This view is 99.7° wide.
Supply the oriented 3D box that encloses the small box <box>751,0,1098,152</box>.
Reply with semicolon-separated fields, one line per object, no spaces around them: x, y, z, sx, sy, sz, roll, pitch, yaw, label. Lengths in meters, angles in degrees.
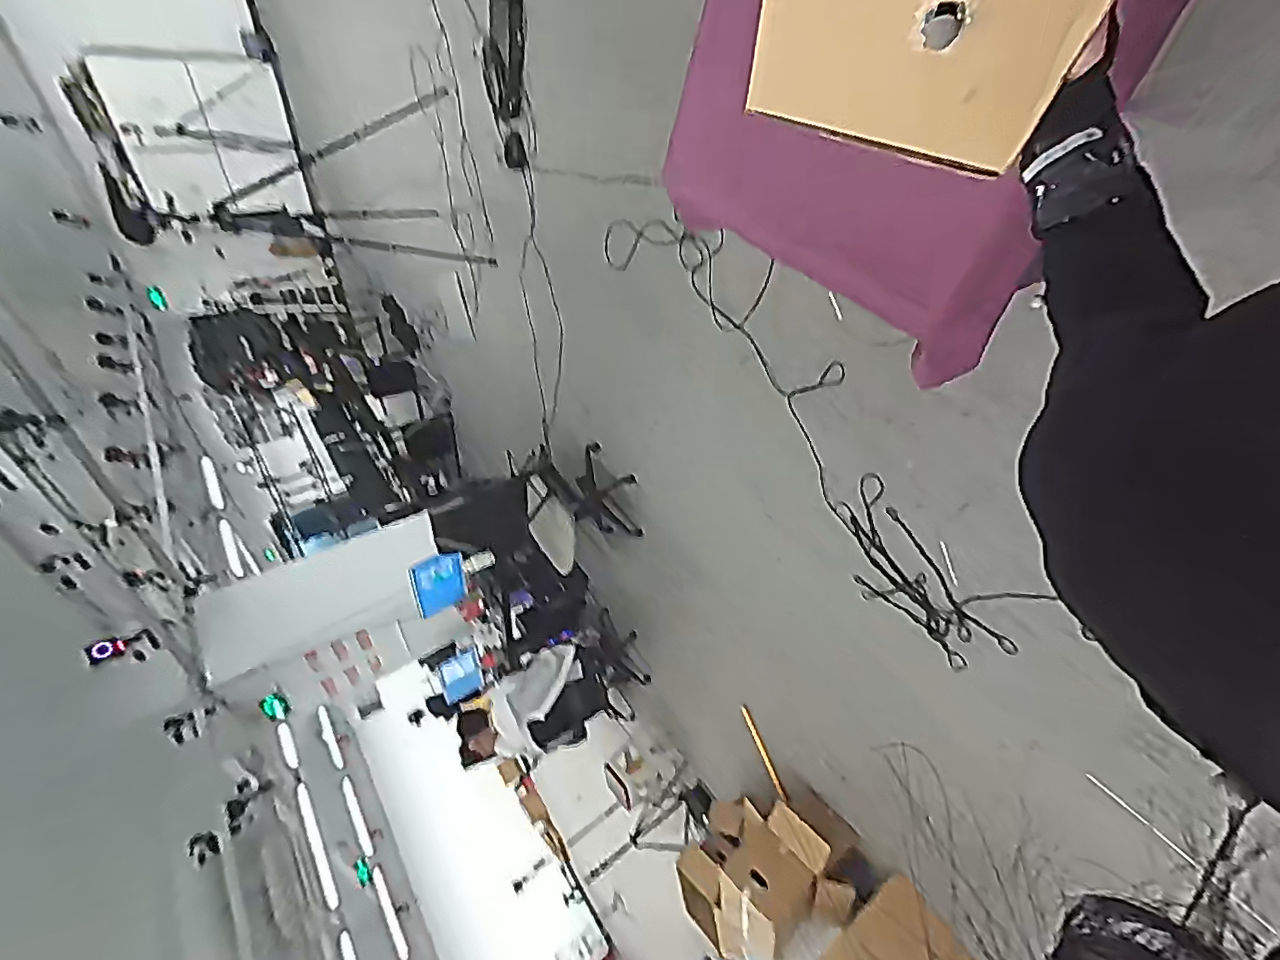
0.179;-0.330;0.302;0.179;0.168;0.176;22;156;12;small box
